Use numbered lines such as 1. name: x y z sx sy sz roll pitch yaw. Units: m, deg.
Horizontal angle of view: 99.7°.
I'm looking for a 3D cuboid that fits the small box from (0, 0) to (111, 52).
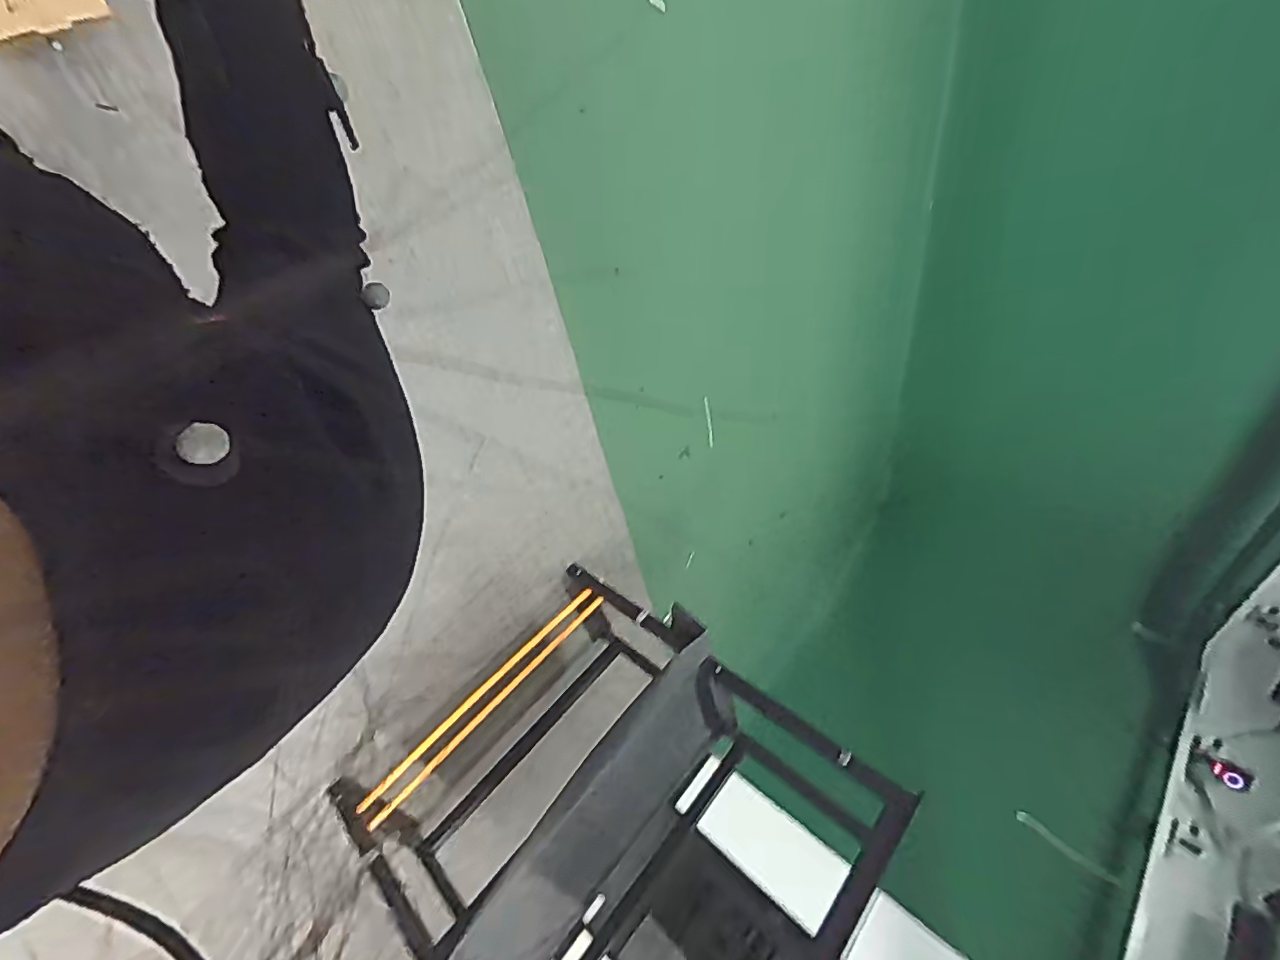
1. small box: -0.945 -0.760 0.789 0.168 0.176 0.179 -43 139 -25
